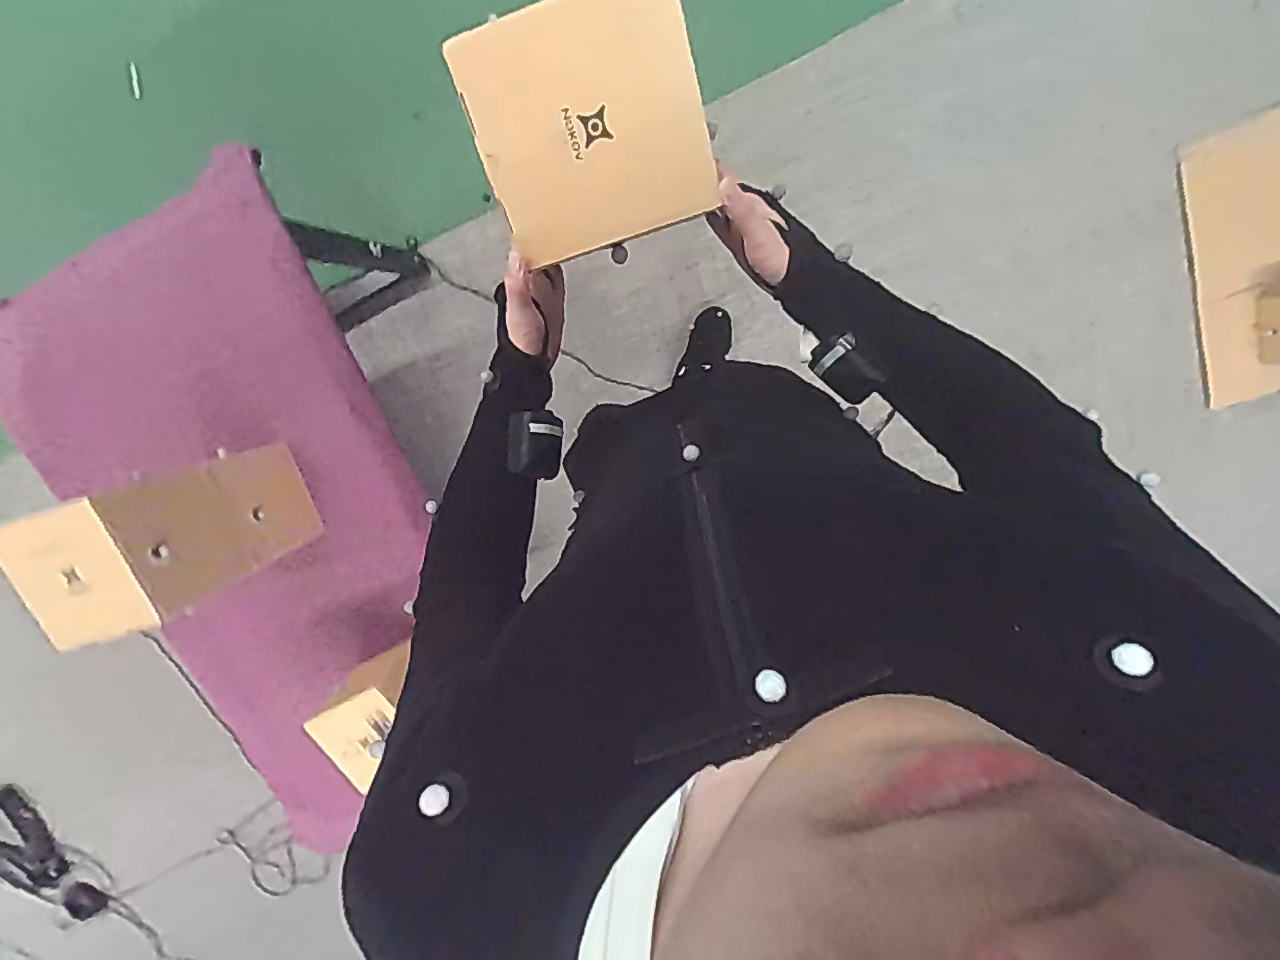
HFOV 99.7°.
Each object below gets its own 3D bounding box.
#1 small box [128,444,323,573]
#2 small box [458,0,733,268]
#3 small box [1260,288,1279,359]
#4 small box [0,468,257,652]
[{"bbox_3d":[-0.675,0.056,0.901,0.168,0.176,0.179,-15,104,9],"label":"small box"},{"bbox_3d":[-0.027,-0.306,0.485,0.179,0.176,0.168,-14,115,10],"label":"small box"},{"bbox_3d":[1.679,-0.394,1.312,0.168,0.176,0.179,-17,104,9],"label":"small box"},{"bbox_3d":[-0.684,0.102,0.745,0.168,0.176,0.179,-16,104,8],"label":"small box"}]
